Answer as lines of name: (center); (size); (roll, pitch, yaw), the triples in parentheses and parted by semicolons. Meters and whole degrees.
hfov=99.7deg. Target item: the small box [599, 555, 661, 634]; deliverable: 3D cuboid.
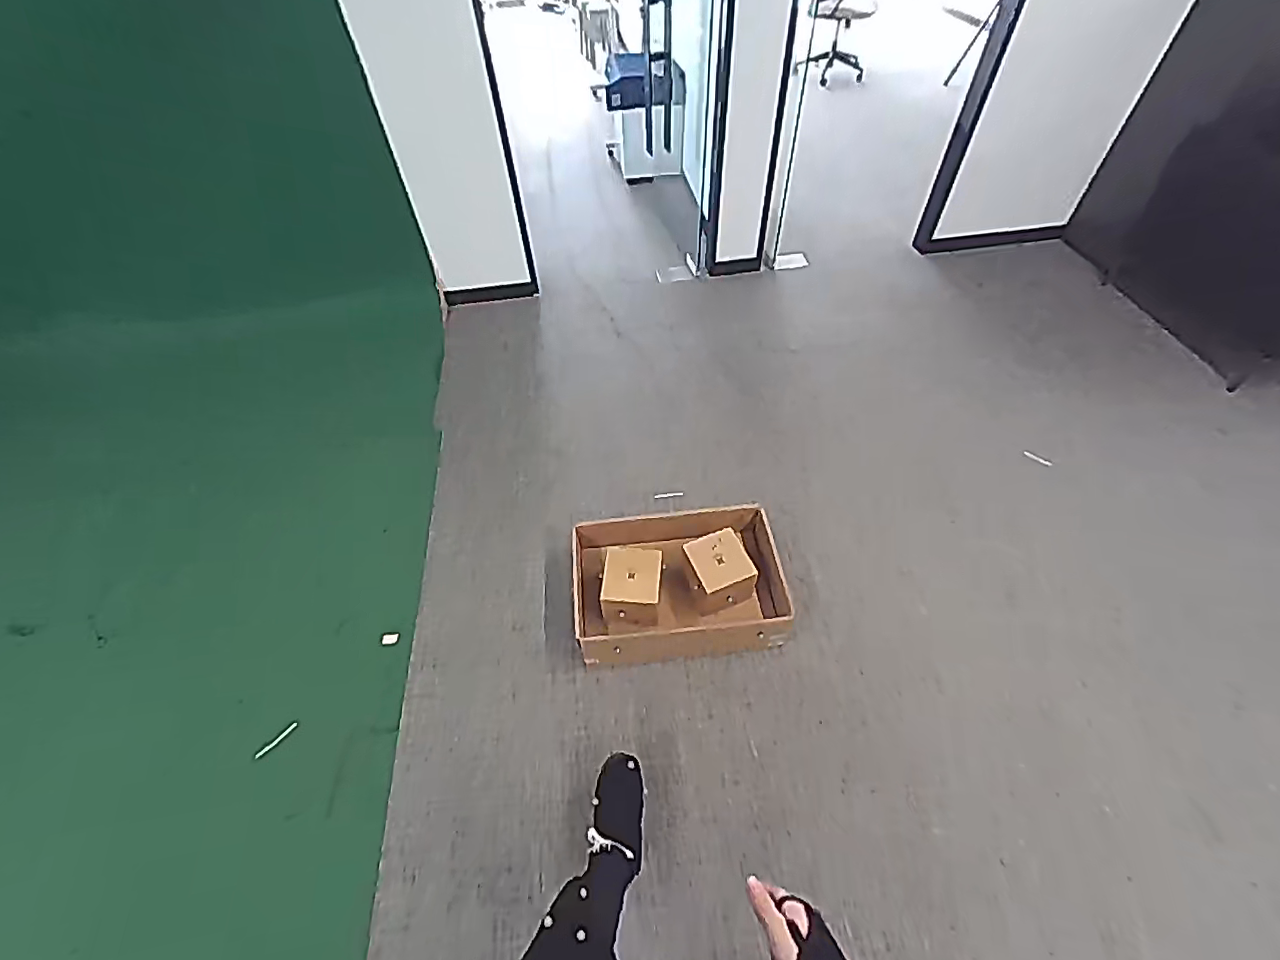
small box: (-0.024, 0.345, 1.616); (0.168, 0.176, 0.179); (3, 49, 4)

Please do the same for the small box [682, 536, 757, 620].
small box: (0.234, 0.304, 1.638); (0.168, 0.176, 0.179); (-18, 52, -12)
